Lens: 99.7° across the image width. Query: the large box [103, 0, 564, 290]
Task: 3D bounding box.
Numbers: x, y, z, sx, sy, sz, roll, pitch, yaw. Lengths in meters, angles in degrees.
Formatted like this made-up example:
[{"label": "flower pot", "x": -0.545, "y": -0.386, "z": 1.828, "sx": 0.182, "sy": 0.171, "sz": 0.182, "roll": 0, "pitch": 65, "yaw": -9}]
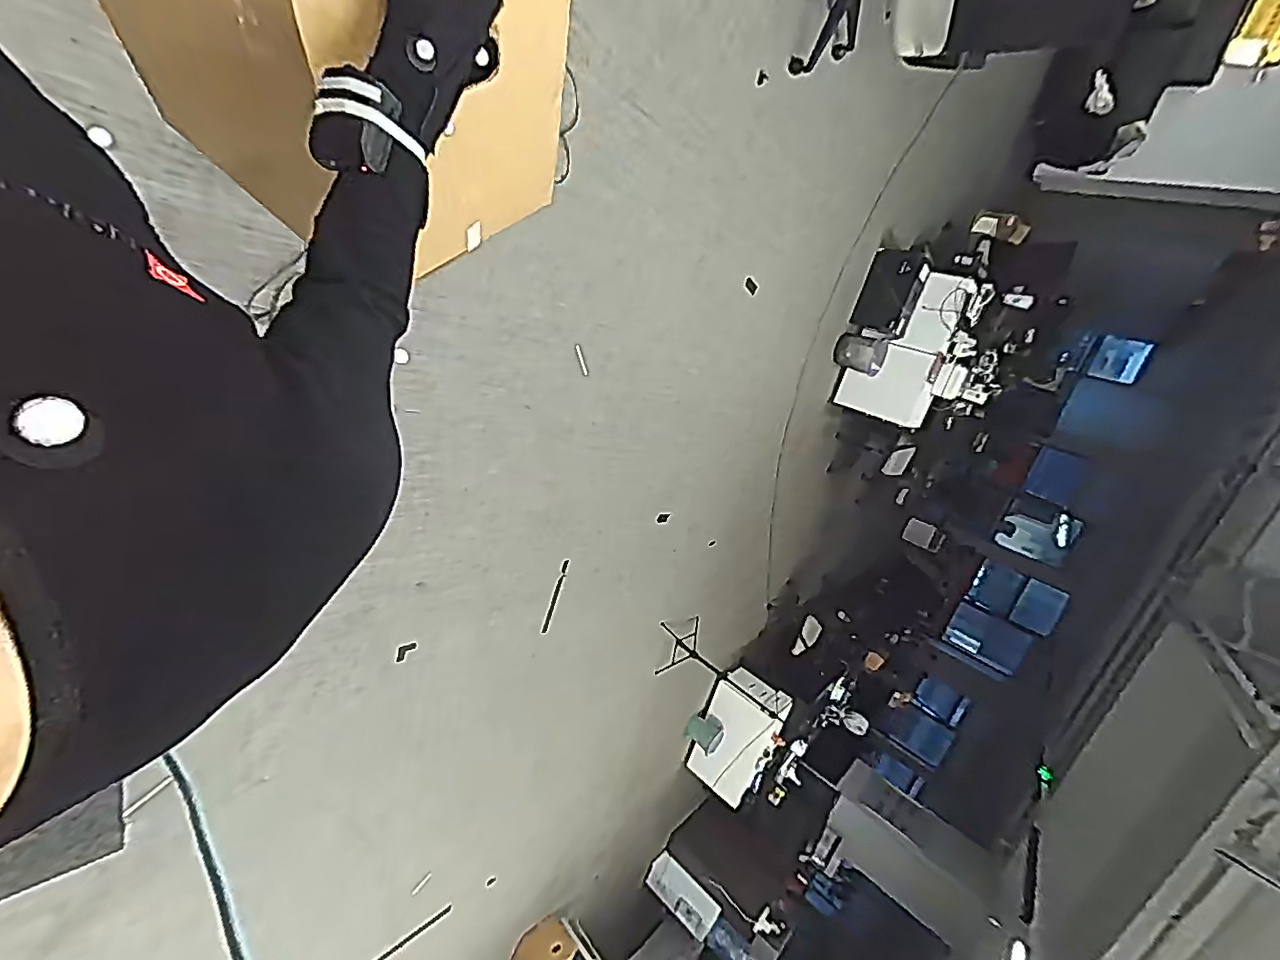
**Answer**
[{"label": "large box", "x": -0.348, "y": -0.511, "z": 0.625, "sx": 0.320, "sy": 0.408, "sz": 0.320, "roll": -46, "pitch": 173, "yaw": -28}]
